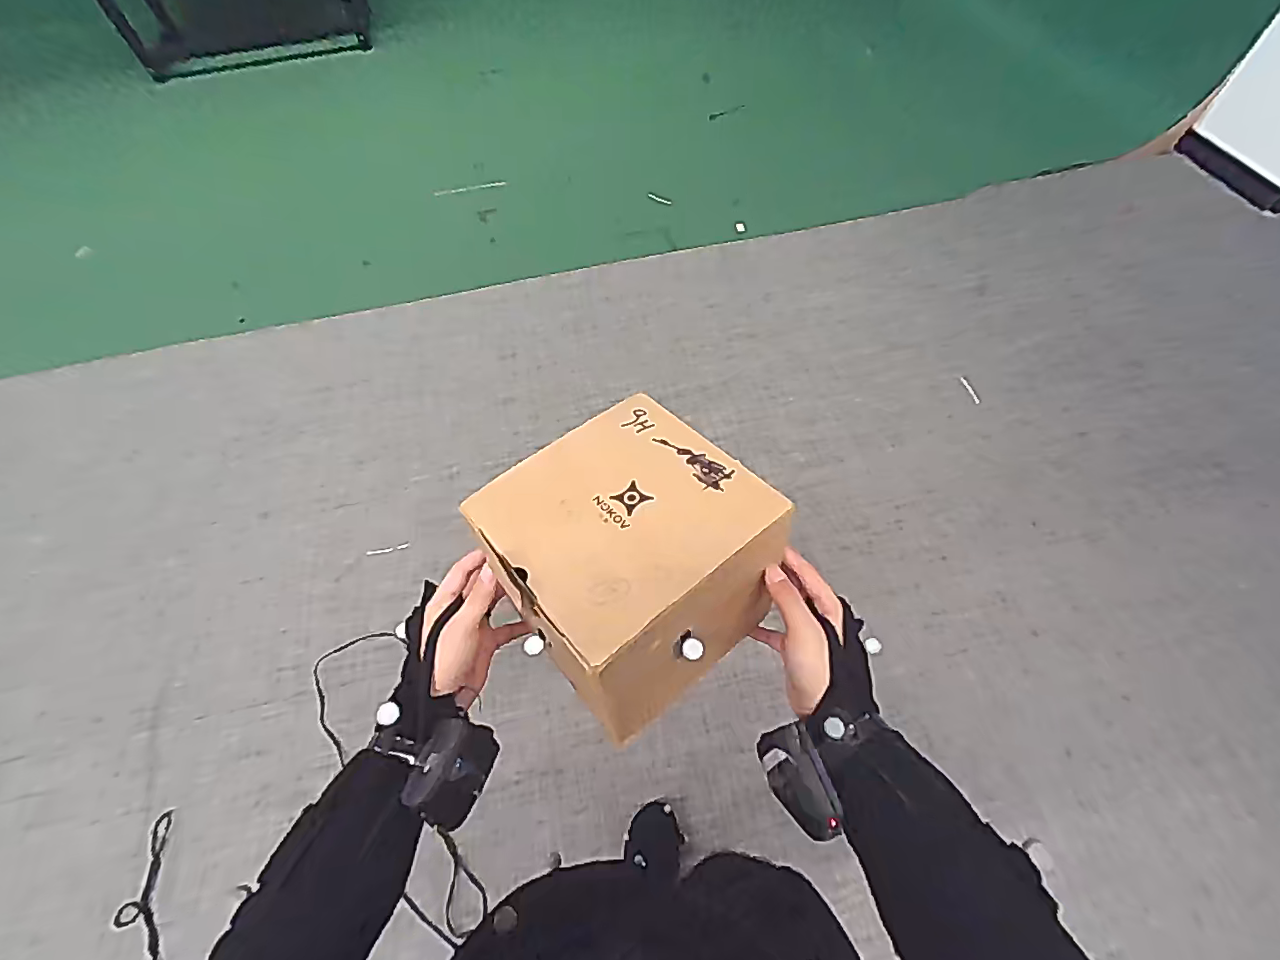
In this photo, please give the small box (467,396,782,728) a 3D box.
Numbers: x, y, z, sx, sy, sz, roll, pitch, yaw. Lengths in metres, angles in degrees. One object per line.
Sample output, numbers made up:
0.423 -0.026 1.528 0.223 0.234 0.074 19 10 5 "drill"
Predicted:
-0.007 0.070 0.450 0.179 0.176 0.168 -35 56 -21 "small box"
